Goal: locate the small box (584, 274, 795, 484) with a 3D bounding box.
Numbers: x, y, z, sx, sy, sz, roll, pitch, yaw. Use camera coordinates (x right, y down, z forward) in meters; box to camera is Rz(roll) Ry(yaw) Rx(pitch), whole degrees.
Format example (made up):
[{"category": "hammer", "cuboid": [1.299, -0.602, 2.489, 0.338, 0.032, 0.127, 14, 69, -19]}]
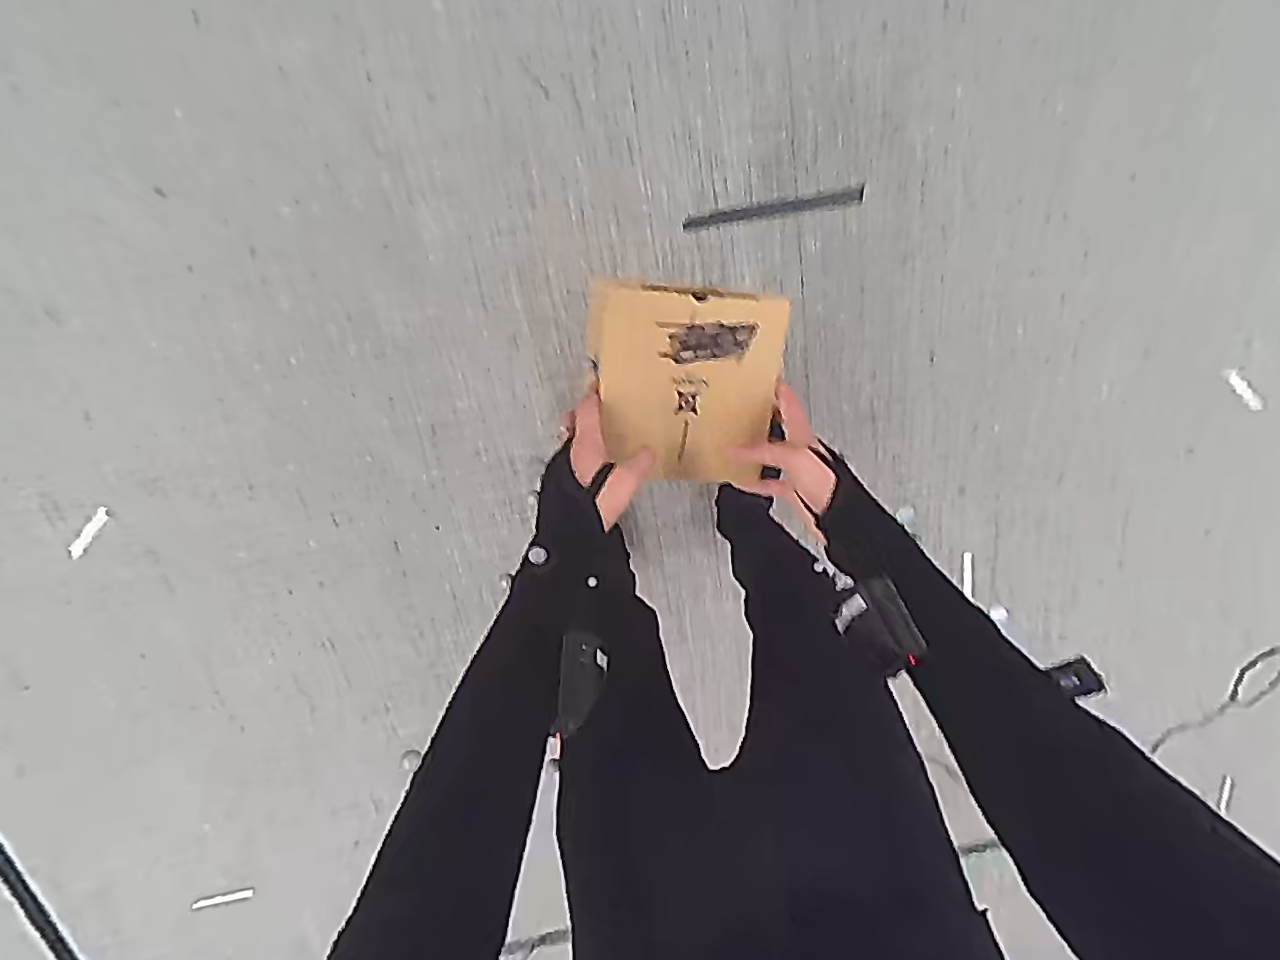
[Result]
[{"category": "small box", "cuboid": [0.033, -0.109, 0.547, 0.168, 0.176, 0.179, 2, 112, -10]}]
